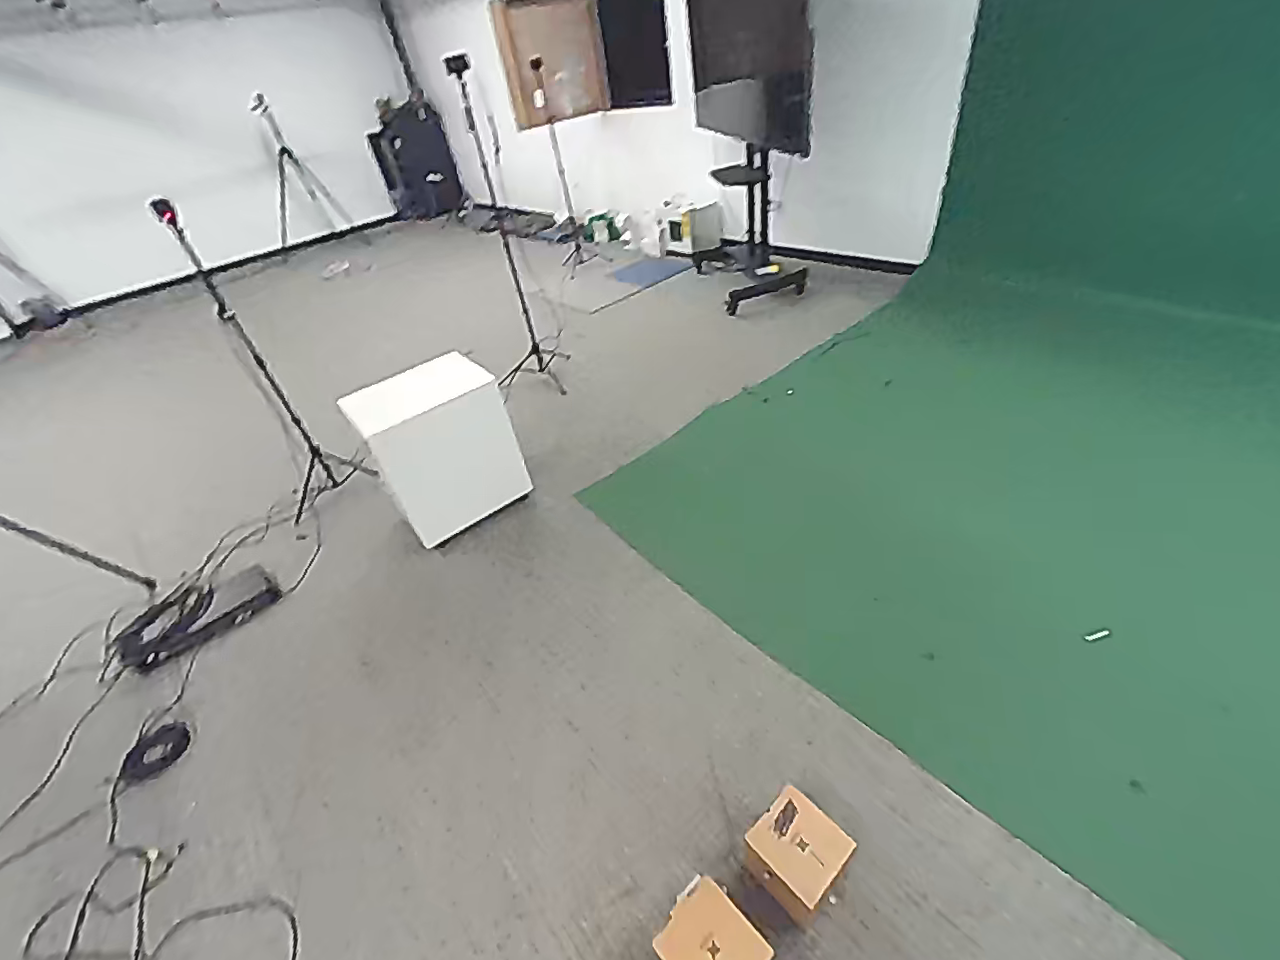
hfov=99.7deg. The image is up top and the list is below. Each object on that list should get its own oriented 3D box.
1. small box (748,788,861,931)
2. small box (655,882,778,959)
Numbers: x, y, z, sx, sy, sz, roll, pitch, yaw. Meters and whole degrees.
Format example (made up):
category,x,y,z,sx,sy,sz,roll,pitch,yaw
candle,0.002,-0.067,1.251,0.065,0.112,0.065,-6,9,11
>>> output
category,x,y,z,sx,sy,sz,roll,pitch,yaw
small box,0.354,0.835,1.190,0.168,0.176,0.179,-33,45,-28
small box,0.155,0.961,1.073,0.168,0.176,0.179,-34,44,-29
